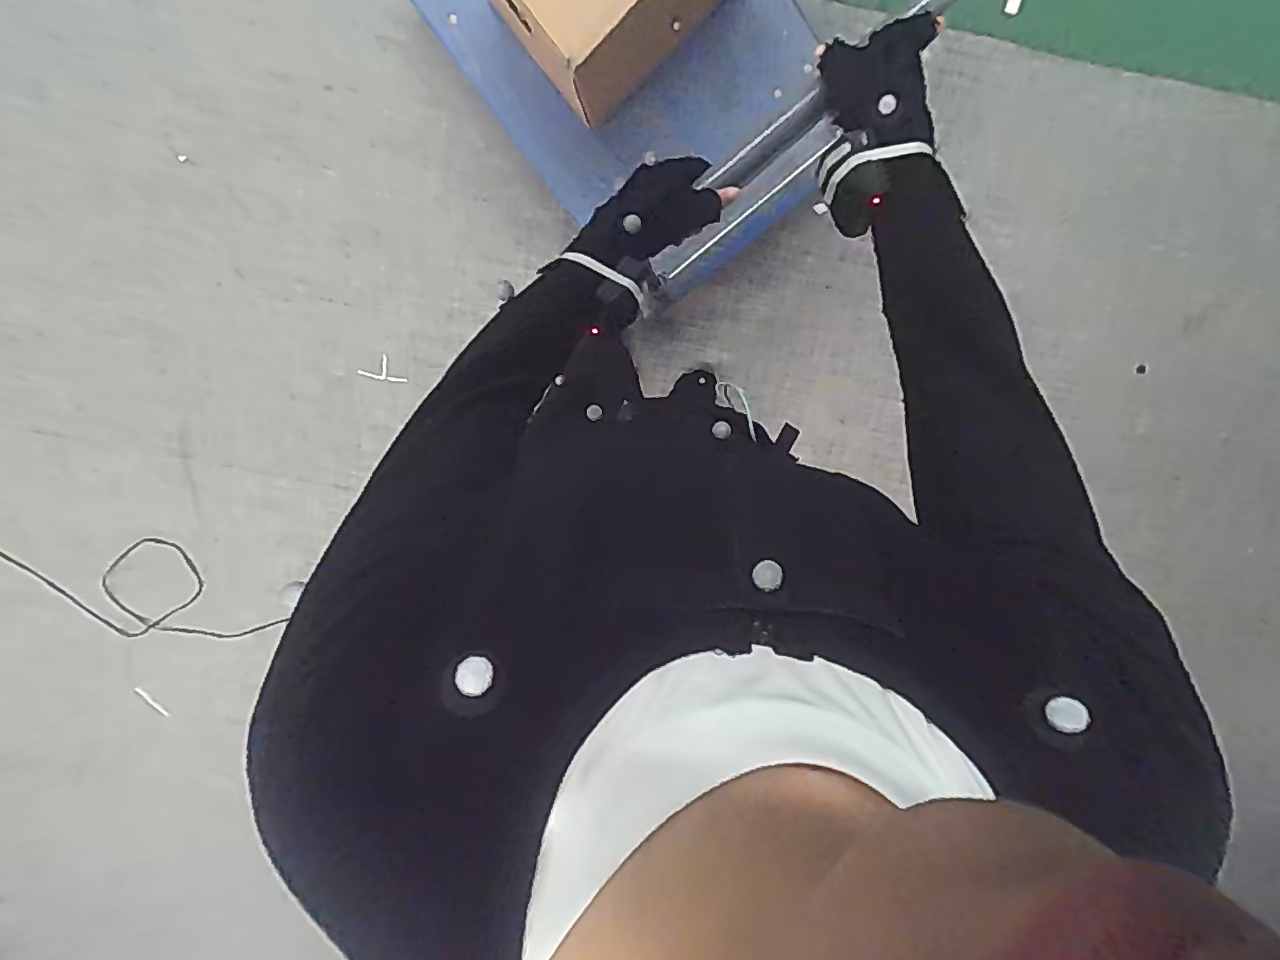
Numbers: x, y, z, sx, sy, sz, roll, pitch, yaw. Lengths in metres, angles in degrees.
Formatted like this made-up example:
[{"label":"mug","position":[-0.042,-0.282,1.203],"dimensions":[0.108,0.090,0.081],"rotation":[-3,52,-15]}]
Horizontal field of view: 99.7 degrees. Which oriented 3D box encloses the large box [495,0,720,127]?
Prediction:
[{"label":"large box","position":[-0.041,-0.902,0.892],"dimensions":[0.408,0.320,0.320],"rotation":[-40,102,13]}]
